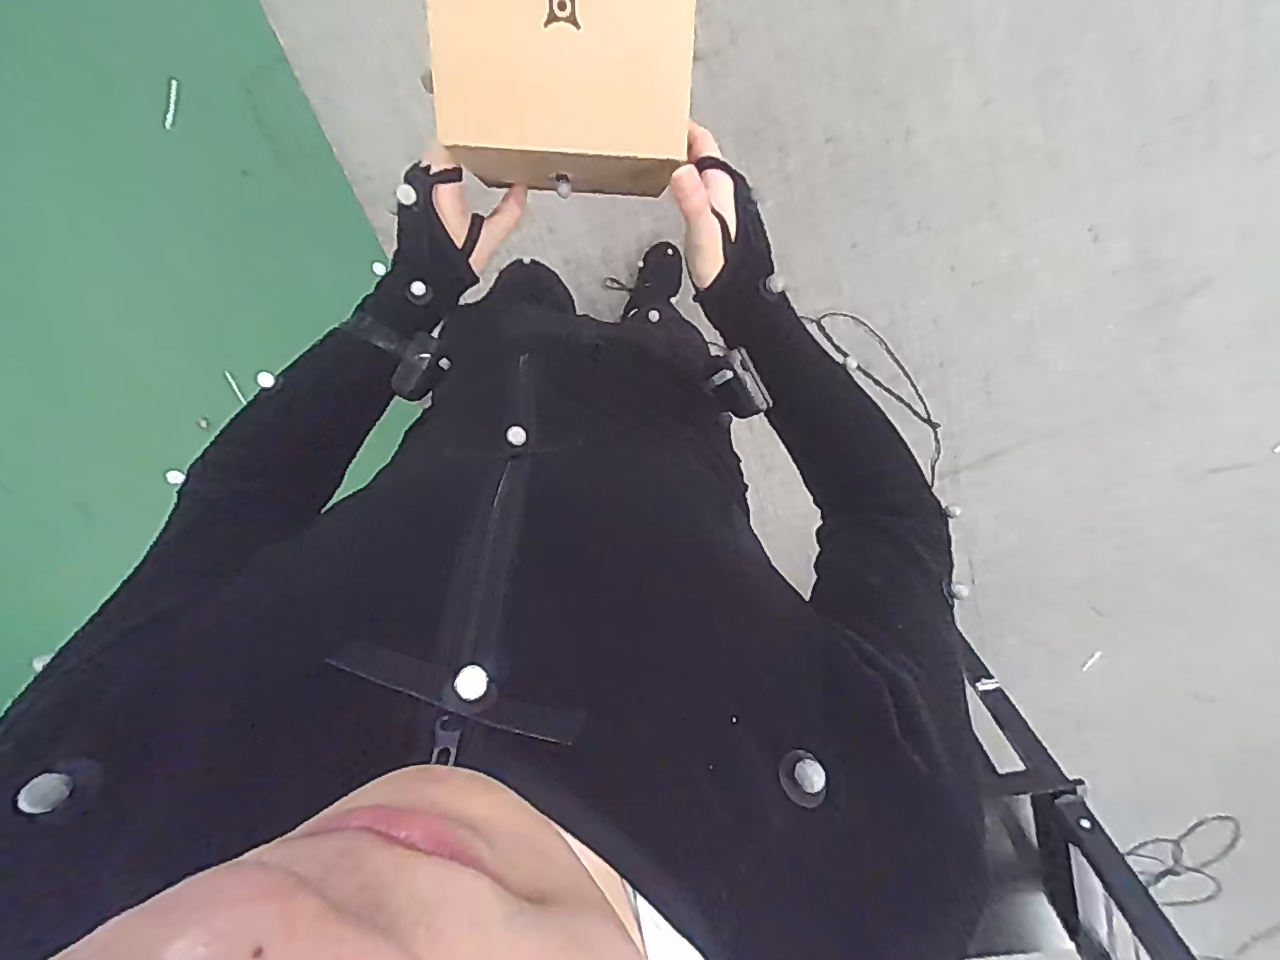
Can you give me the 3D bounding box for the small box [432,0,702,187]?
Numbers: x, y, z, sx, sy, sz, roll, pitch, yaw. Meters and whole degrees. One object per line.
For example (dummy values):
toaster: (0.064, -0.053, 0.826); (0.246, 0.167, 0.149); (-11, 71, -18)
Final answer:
small box: (-0.048, -0.327, 0.399); (0.168, 0.176, 0.179); (1, 110, -6)
